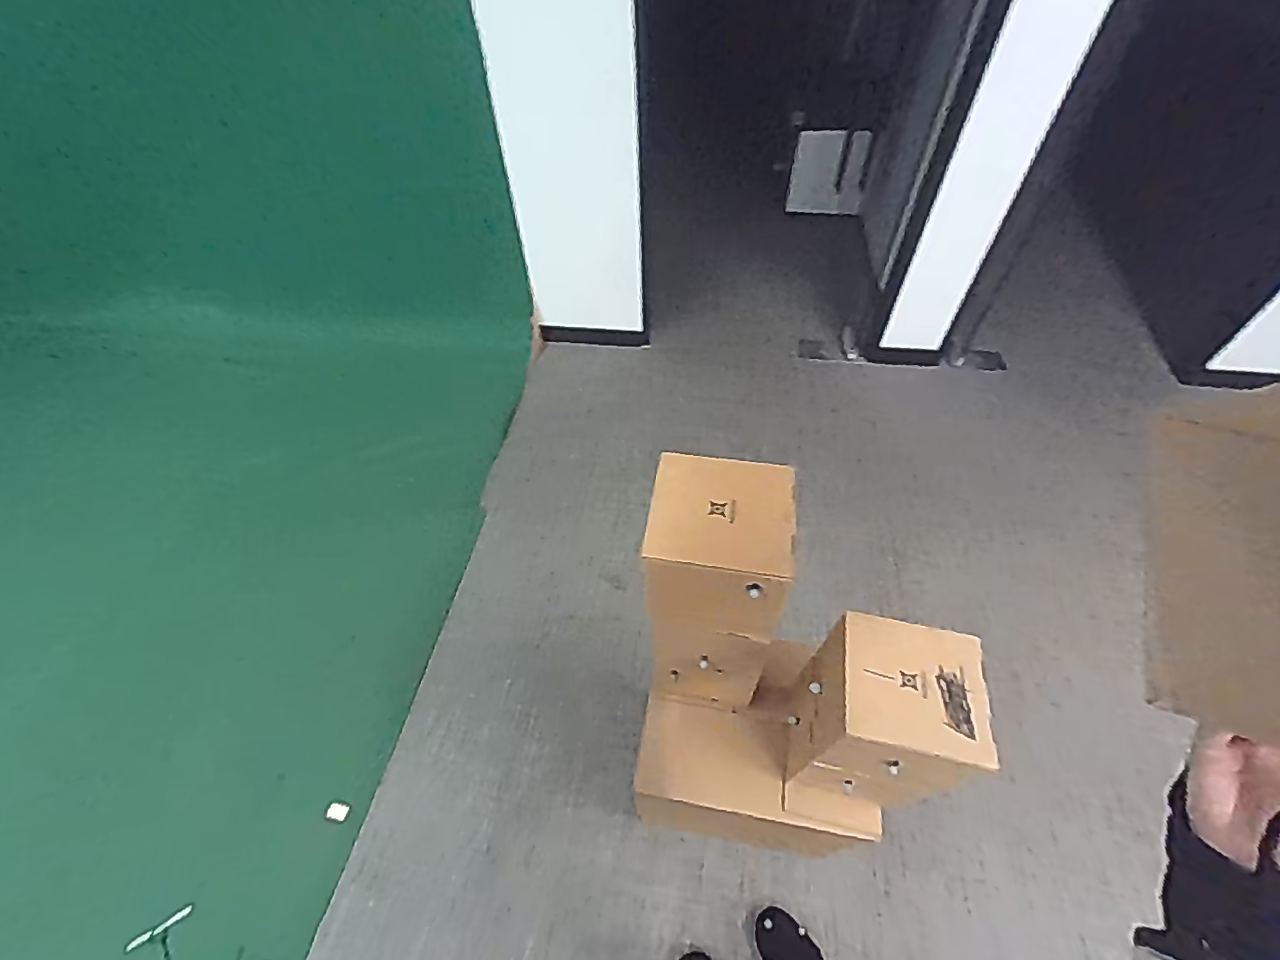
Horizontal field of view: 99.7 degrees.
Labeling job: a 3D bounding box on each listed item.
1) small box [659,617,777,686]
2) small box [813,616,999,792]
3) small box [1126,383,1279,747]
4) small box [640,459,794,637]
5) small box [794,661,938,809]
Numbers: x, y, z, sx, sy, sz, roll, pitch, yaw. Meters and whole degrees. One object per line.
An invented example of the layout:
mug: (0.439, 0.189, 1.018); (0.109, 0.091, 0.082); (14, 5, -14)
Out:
small box: (0.126, 0.196, 0.850); (0.168, 0.176, 0.179); (10, 53, 12)
small box: (0.350, 0.312, 0.743); (0.179, 0.176, 0.168); (10, 53, 10)
small box: (0.369, 0.048, 0.234); (0.176, 0.179, 0.168); (20, 74, -14)
small box: (0.103, 0.094, 0.724); (0.179, 0.176, 0.168); (7, 52, 8)
small box: (0.351, 0.414, 0.871); (0.179, 0.176, 0.168); (9, 54, 10)
